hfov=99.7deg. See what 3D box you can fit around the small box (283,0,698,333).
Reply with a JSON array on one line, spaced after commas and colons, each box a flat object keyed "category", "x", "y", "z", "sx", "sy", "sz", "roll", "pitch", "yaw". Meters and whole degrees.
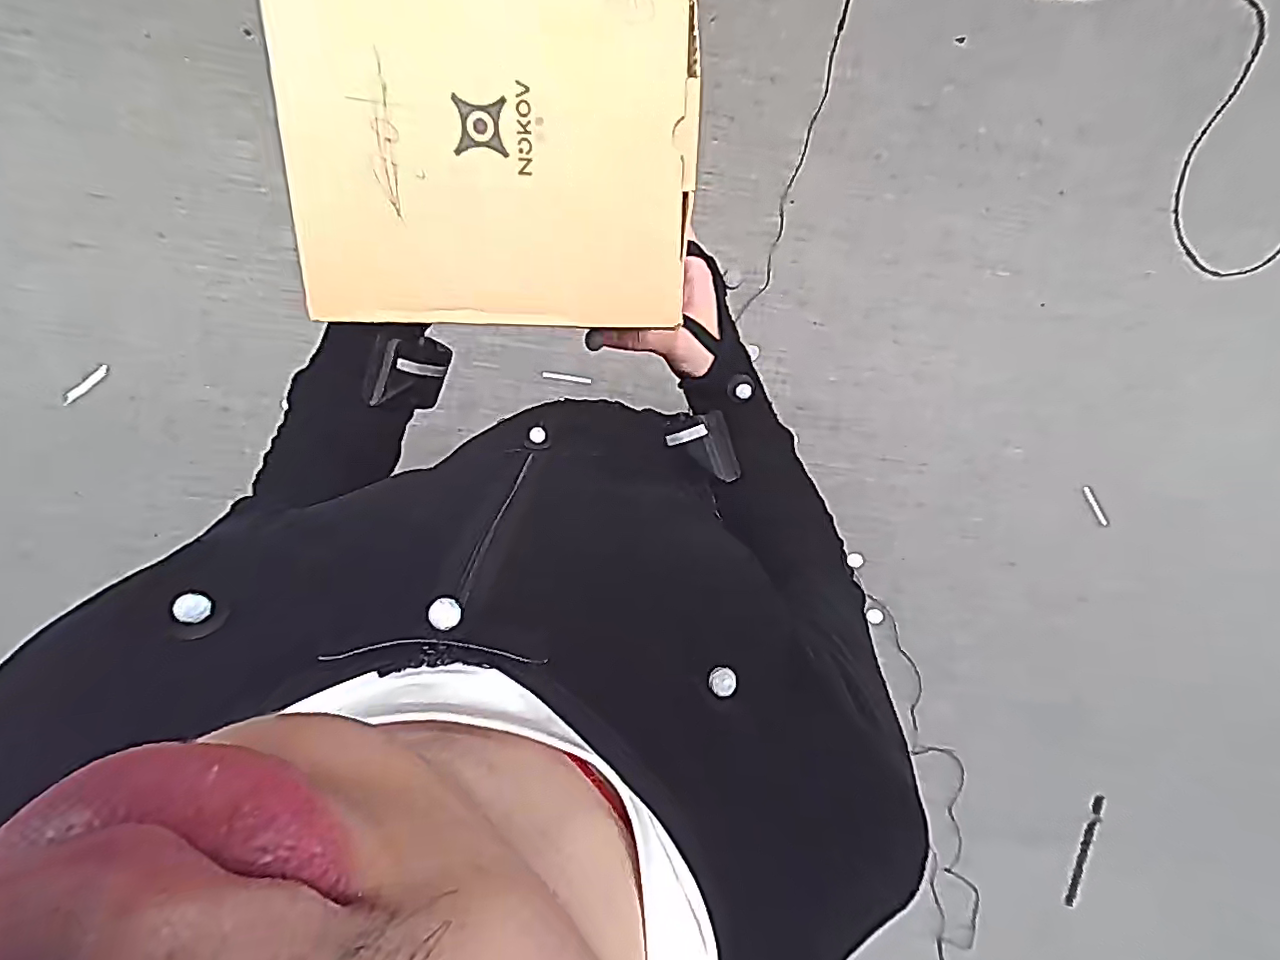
[{"category": "small box", "x": -0.068, "y": -0.177, "z": 0.320, "sx": 0.179, "sy": 0.176, "sz": 0.168, "roll": 0, "pitch": 106, "yaw": -4}]
